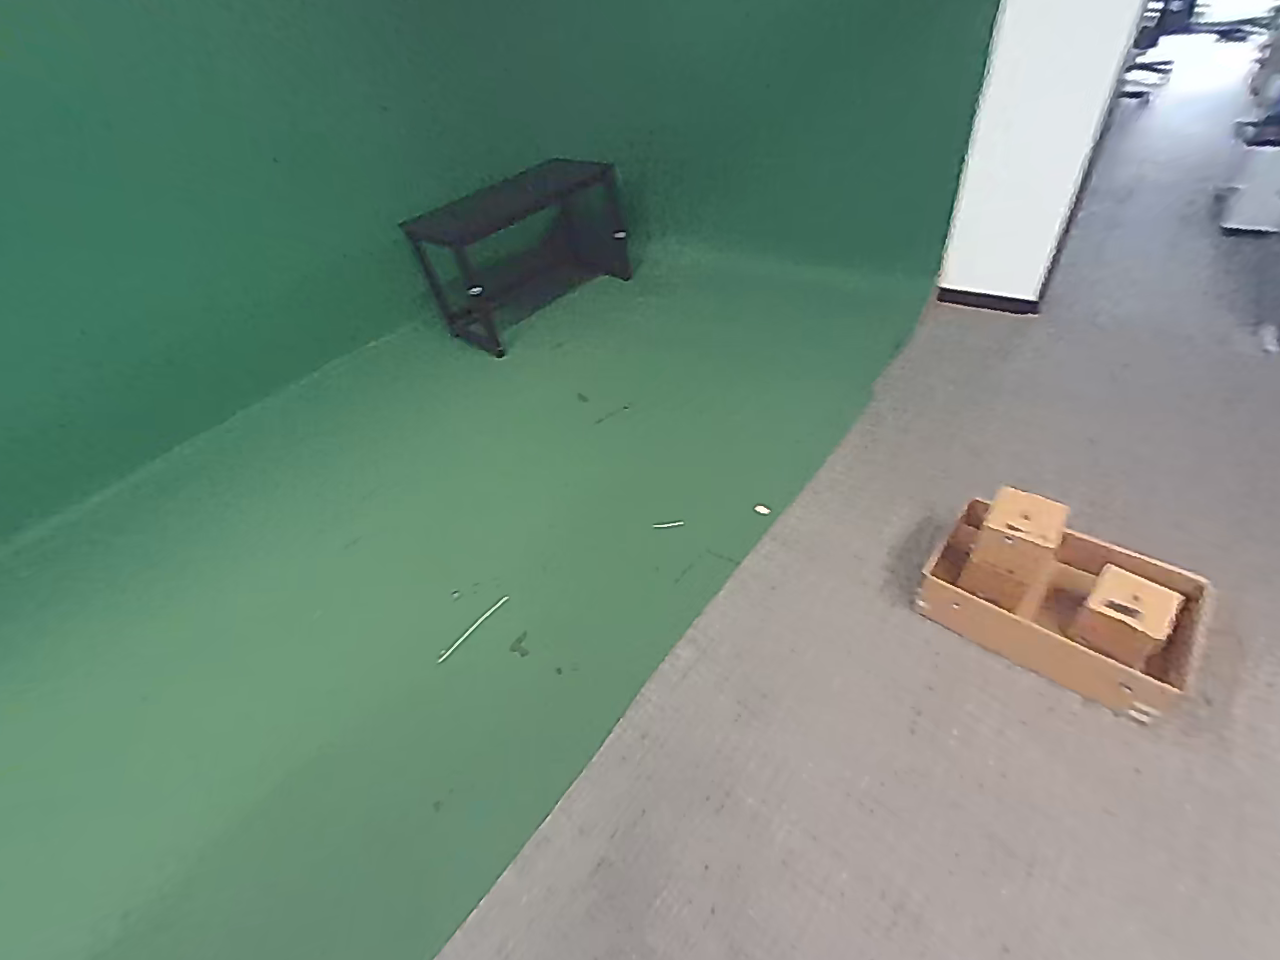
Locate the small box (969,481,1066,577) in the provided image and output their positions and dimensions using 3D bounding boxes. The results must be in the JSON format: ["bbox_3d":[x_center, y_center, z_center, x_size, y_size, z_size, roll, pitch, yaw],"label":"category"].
[{"bbox_3d":[1.062,0.139,1.532,0.168,0.176,0.179,24,54,32],"label":"small box"}]
